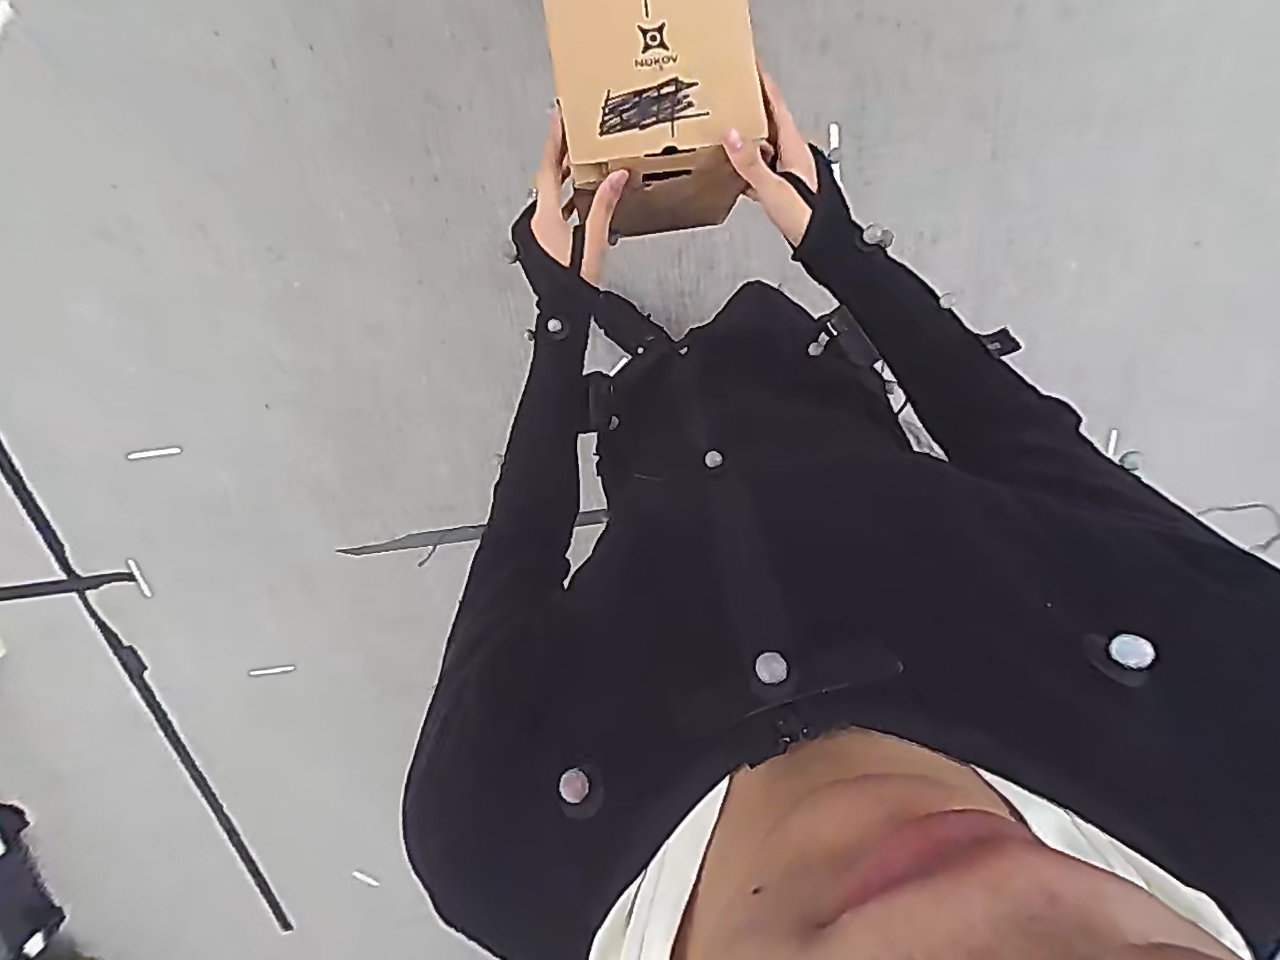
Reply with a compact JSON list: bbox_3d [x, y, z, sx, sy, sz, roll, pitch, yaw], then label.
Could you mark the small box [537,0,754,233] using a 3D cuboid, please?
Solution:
[{"bbox_3d":[0.002,-0.357,0.523,0.168,0.176,0.179,-9,96,-2],"label":"small box"}]
